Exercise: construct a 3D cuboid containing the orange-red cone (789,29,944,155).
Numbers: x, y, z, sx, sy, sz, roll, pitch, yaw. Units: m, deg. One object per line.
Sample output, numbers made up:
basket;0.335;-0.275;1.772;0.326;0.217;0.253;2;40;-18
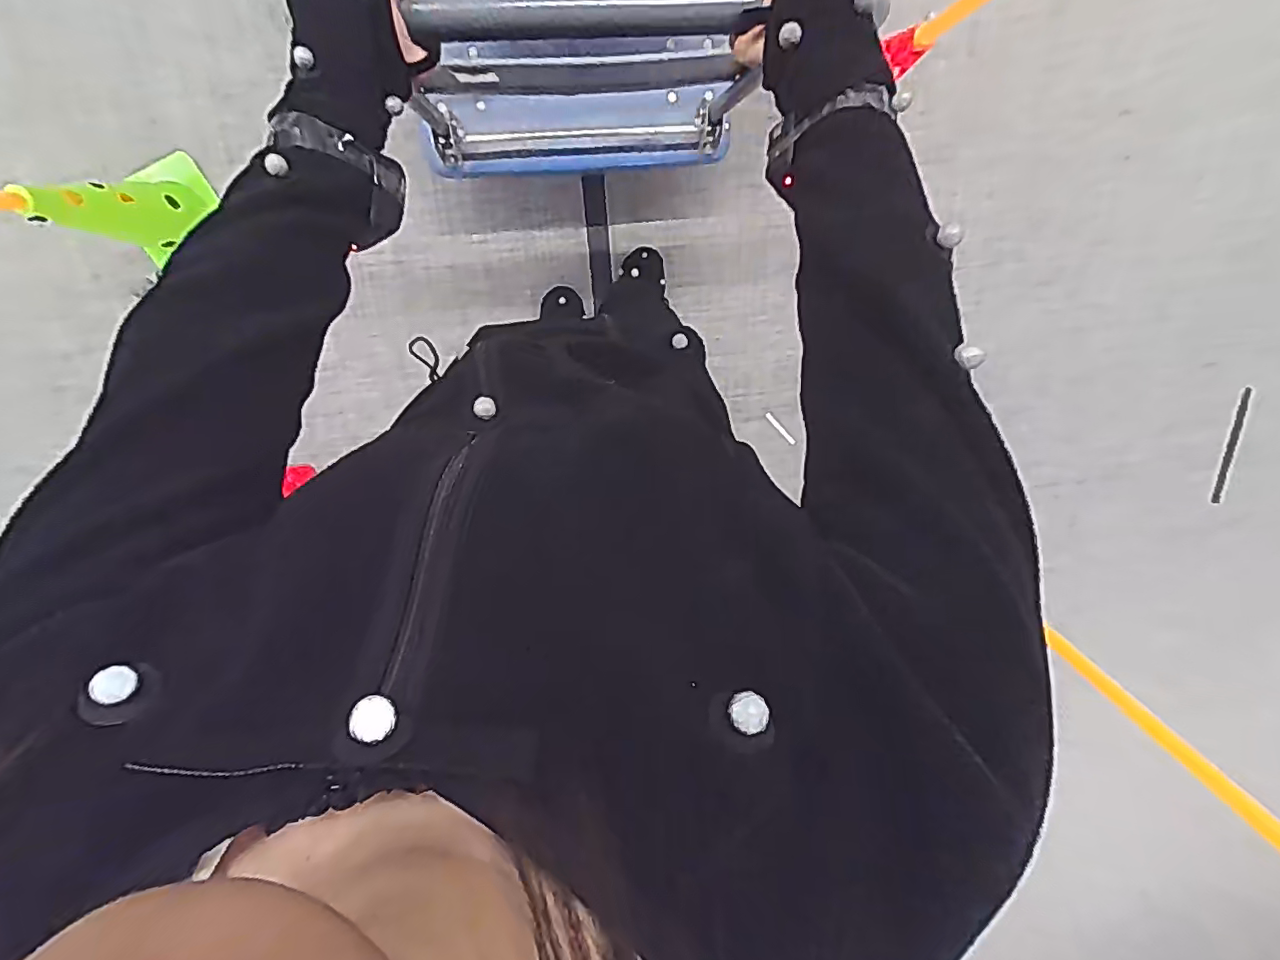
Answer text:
orange-red cone;0.452;-0.767;1.027;0.199;0.360;0.198;0;112;-7
